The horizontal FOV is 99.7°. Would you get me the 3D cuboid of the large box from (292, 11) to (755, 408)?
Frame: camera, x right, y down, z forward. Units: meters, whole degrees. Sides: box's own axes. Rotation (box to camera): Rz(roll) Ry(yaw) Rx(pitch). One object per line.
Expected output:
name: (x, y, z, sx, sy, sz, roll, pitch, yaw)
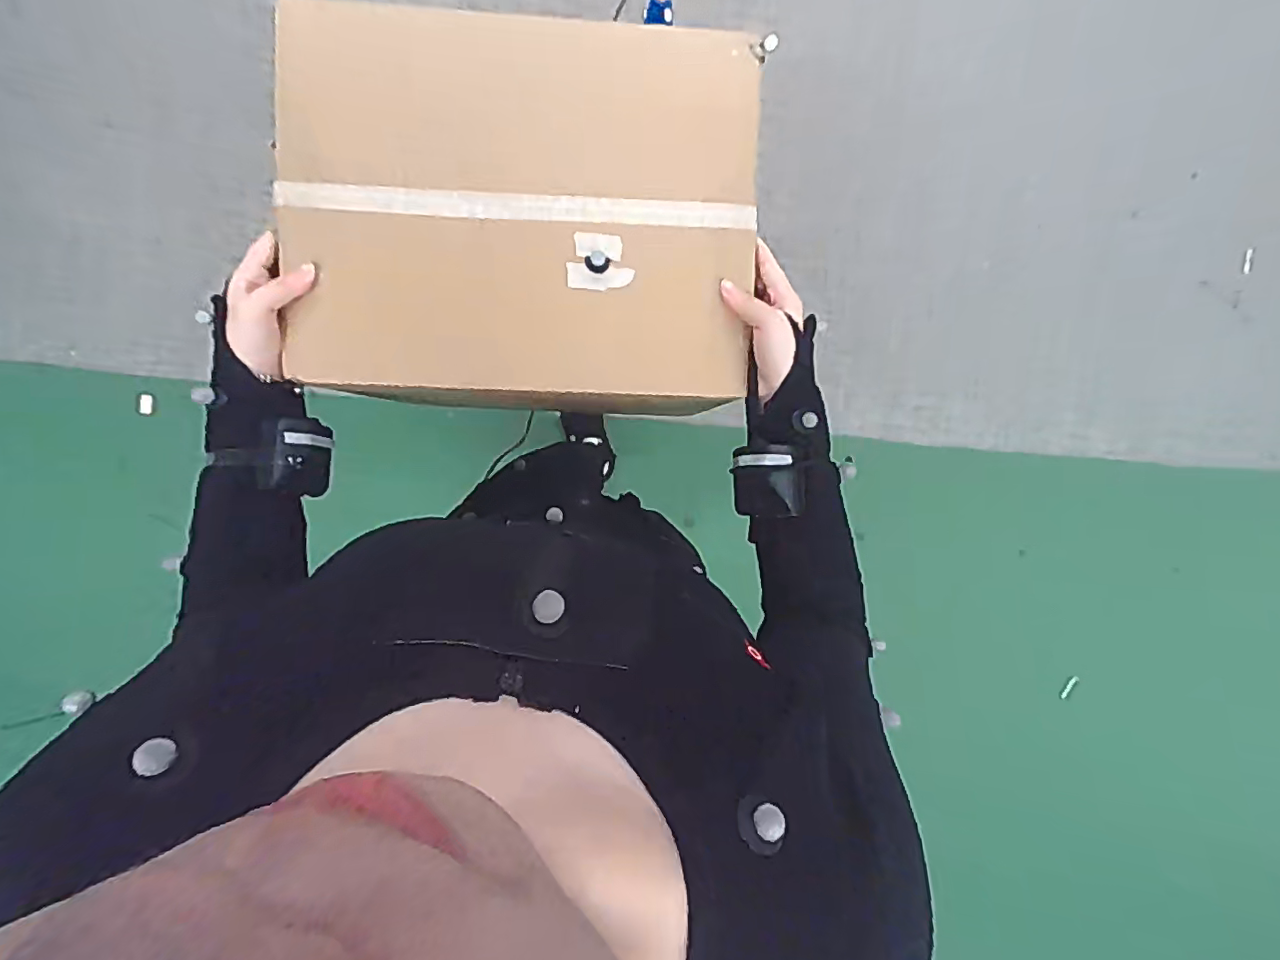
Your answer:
large box: (-0.110, -0.249, 0.624, 0.408, 0.320, 0.320, 1, 94, -5)
